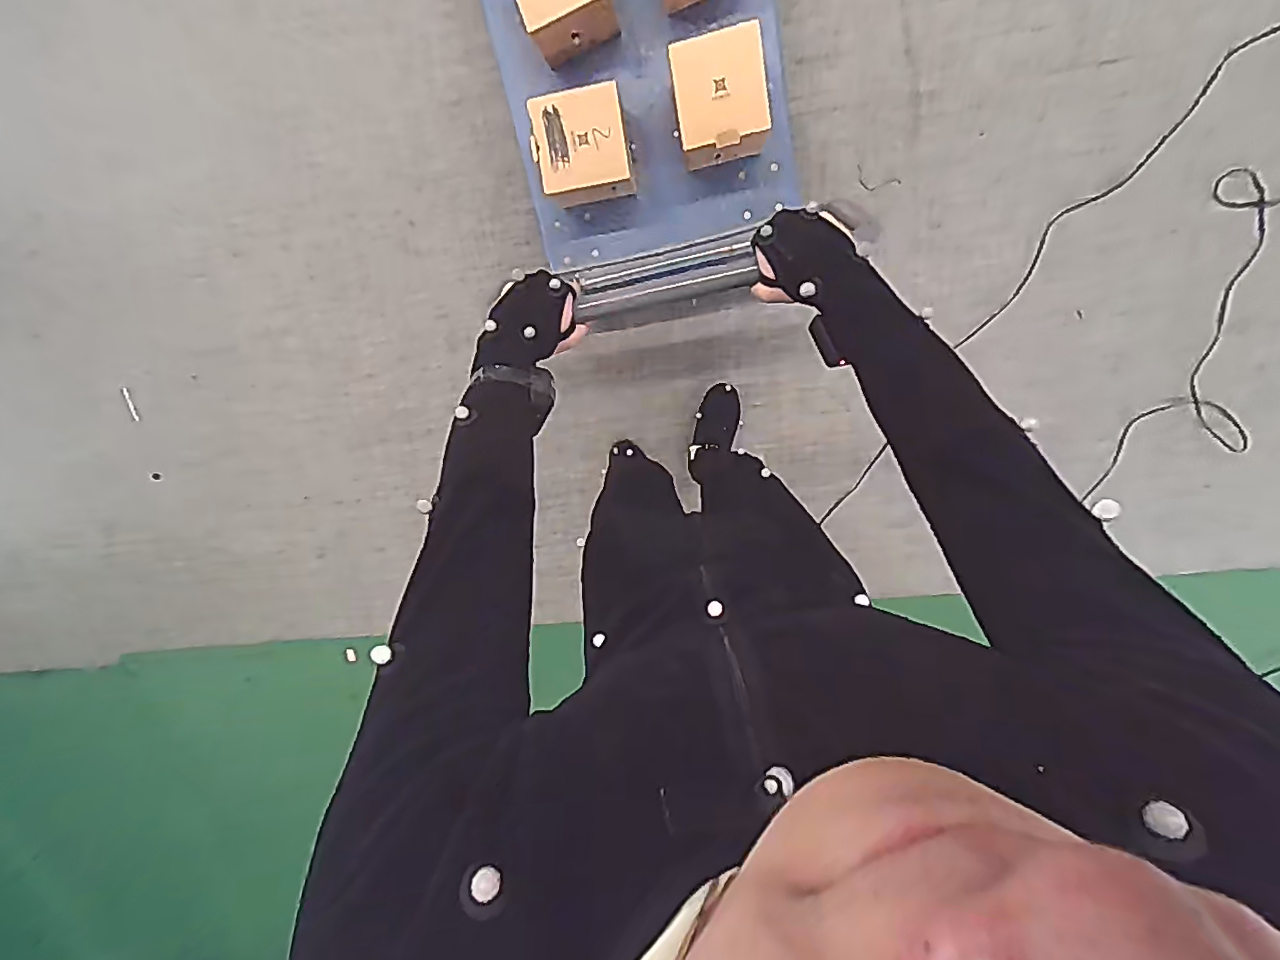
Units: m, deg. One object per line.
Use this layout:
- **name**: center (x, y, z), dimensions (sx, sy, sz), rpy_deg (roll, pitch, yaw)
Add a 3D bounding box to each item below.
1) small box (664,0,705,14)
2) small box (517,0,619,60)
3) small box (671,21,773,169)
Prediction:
- **small box**: center (0.099, -1.008, 0.975), dimensions (0.168, 0.176, 0.179), rpy_deg (-17, 107, 11)
- **small box**: center (-0.148, -0.938, 1.021), dimensions (0.168, 0.176, 0.179), rpy_deg (-18, 107, 10)
- **small box**: center (0.157, -0.742, 1.063), dimensions (0.168, 0.176, 0.179), rpy_deg (-10, 108, 9)
